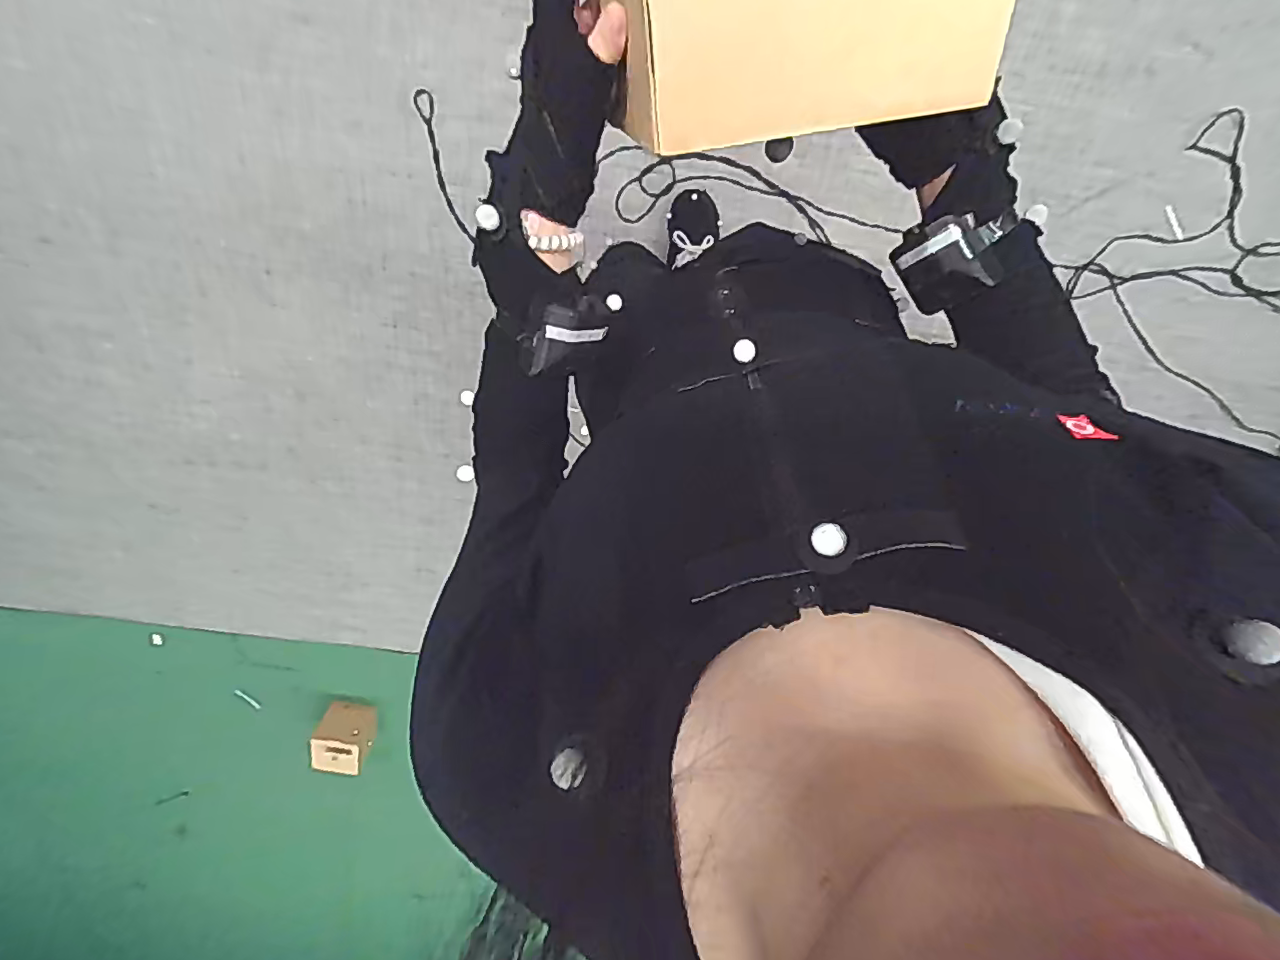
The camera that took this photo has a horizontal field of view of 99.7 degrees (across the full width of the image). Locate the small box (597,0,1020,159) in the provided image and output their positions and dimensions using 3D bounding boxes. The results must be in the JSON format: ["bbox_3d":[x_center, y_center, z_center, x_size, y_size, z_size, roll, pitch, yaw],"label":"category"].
[{"bbox_3d":[0.071,-0.282,0.276,0.179,0.176,0.168,-11,130,-3],"label":"small box"}]
